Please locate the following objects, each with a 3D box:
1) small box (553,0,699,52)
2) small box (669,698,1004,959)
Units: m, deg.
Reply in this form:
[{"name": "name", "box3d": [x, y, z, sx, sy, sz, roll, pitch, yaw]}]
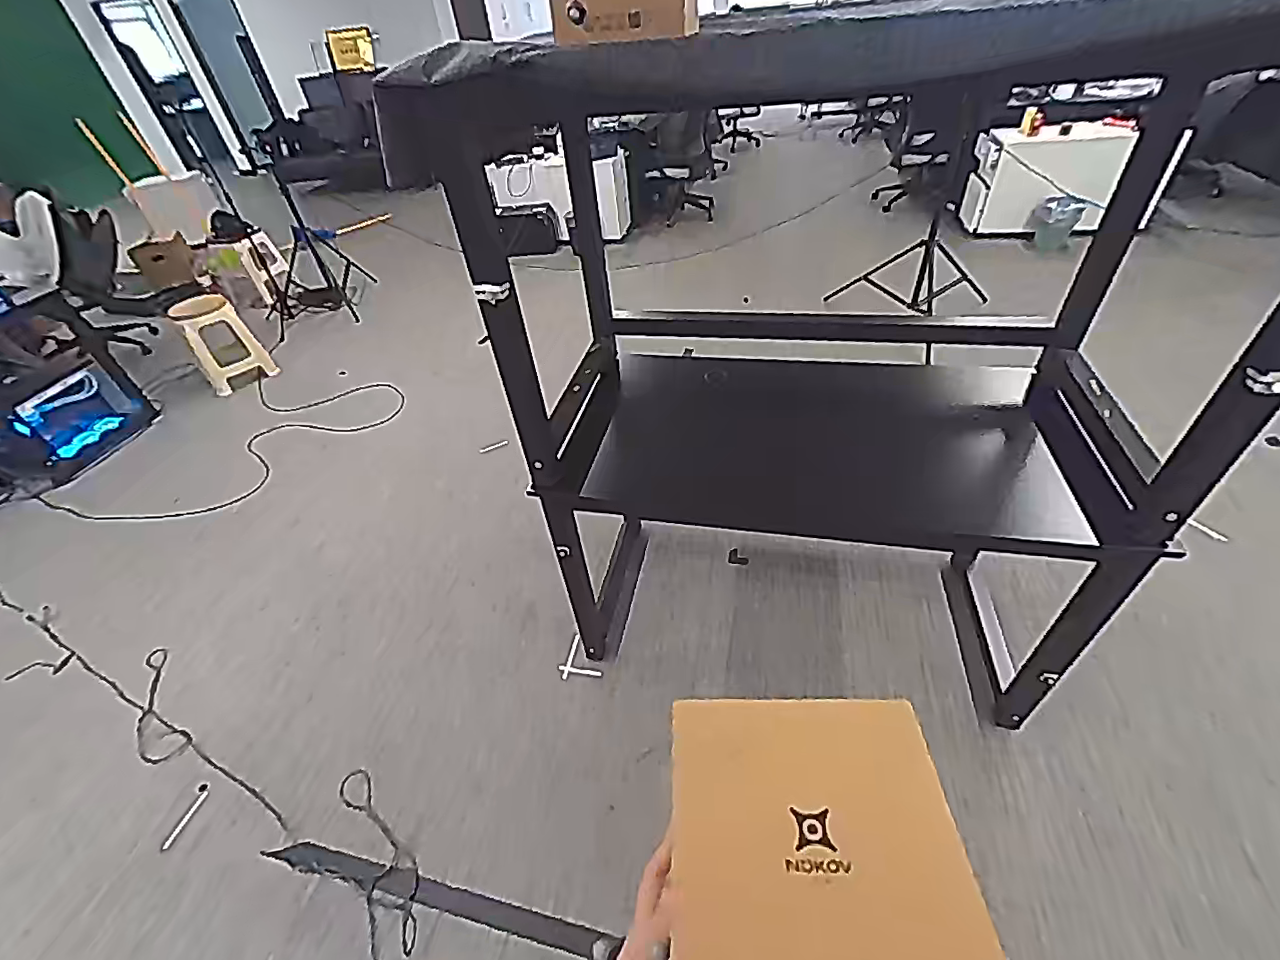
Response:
[{"name": "small box", "box3d": [-0.015, -0.646, 0.672, 0.168, 0.176, 0.179, 4, 40, 10]}, {"name": "small box", "box3d": [0.105, 0.270, 0.358, 0.168, 0.176, 0.179, -2, 37, 5]}]
